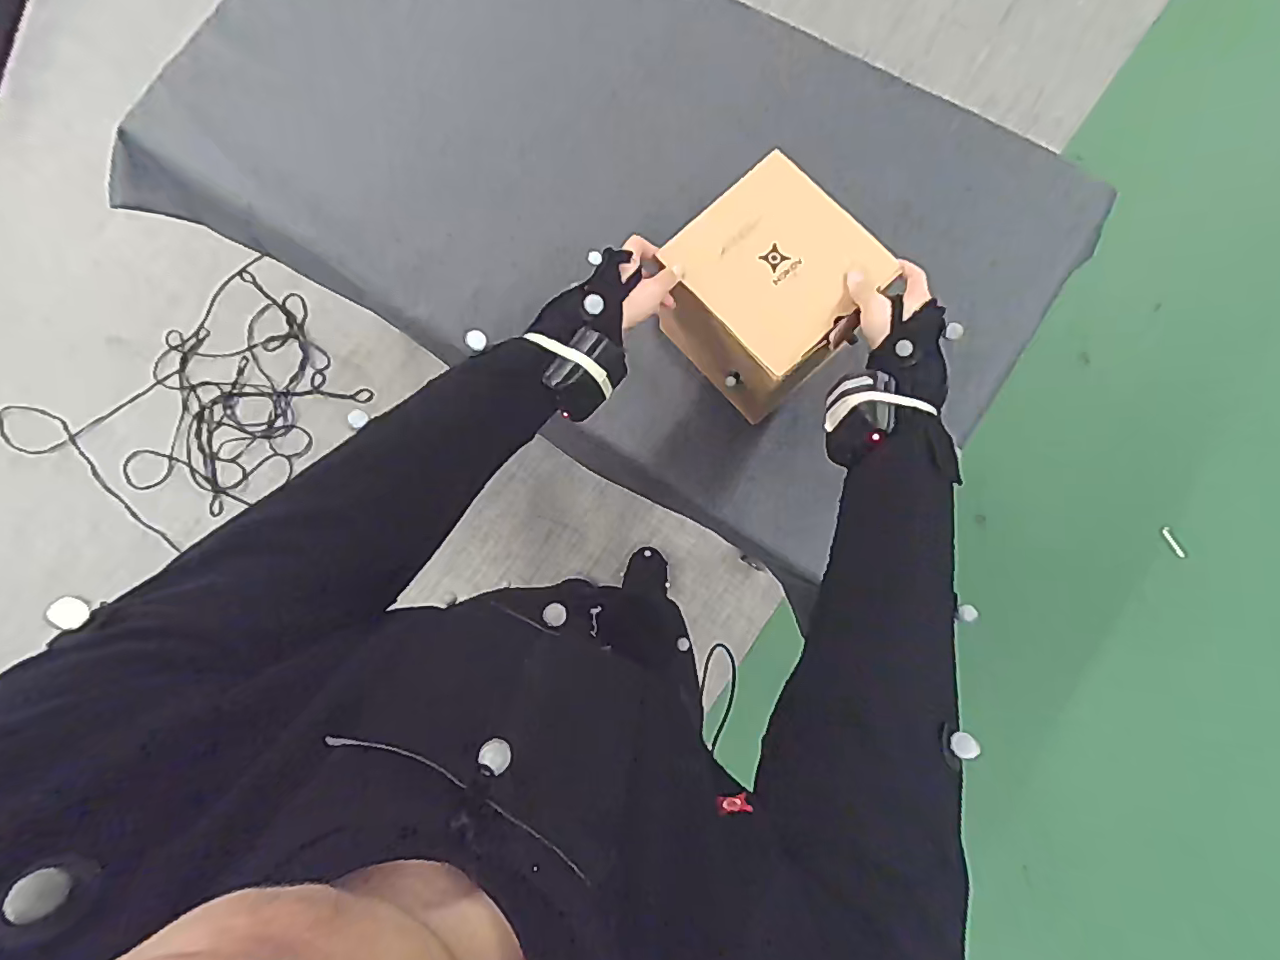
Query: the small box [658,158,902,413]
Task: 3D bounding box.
[{"bbox_3d":[0.139,-0.194,0.598,0.168,0.176,0.179,-42,80,-4],"label":"small box"}]
